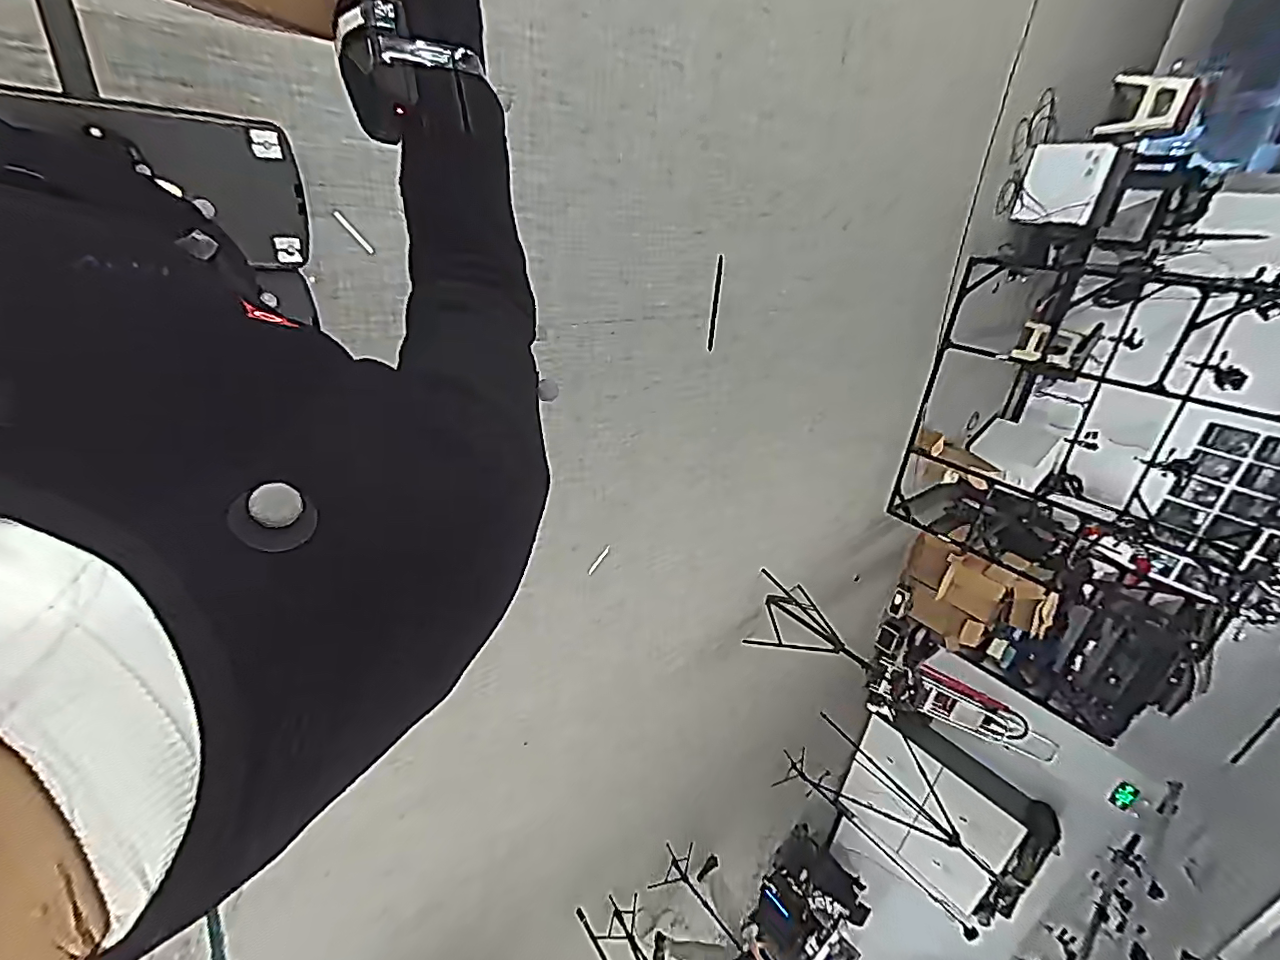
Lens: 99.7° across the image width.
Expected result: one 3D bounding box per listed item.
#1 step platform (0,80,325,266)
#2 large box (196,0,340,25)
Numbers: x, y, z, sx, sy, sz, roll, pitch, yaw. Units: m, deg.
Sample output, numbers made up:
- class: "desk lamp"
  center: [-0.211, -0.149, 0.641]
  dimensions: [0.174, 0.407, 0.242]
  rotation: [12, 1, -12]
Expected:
- class: "step platform"
  center: [-1.000, -0.570, 1.032]
  dimensions: [0.684, 0.204, 0.286]
  rotation: [-18, 125, -37]
- class: "large box"
  center: [-0.403, -0.482, 0.251]
  dimensions: [0.408, 0.320, 0.320]
  rotation: [-10, 130, -41]
